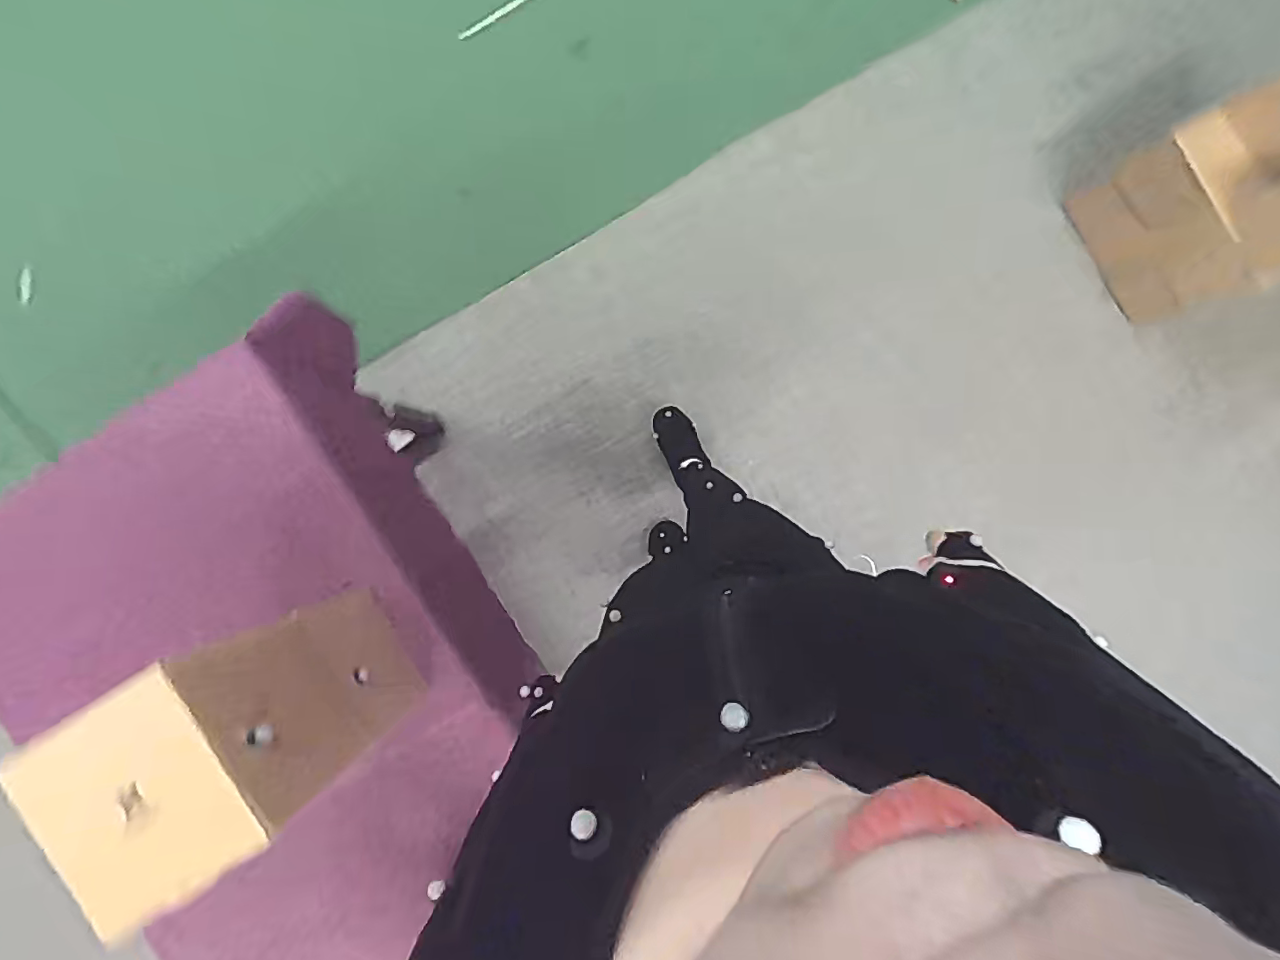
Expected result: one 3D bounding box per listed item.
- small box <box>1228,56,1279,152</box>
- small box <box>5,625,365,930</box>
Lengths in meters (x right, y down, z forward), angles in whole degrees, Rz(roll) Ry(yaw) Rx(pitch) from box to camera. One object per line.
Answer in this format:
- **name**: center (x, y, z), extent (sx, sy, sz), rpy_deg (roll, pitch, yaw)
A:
- **small box**: center (1.377, -0.805, 1.089), extent (0.168, 0.176, 0.179), rpy_deg (-32, 90, -2)
- **small box**: center (-0.419, 0.263, 0.533), extent (0.168, 0.176, 0.179), rpy_deg (-33, 91, 1)
